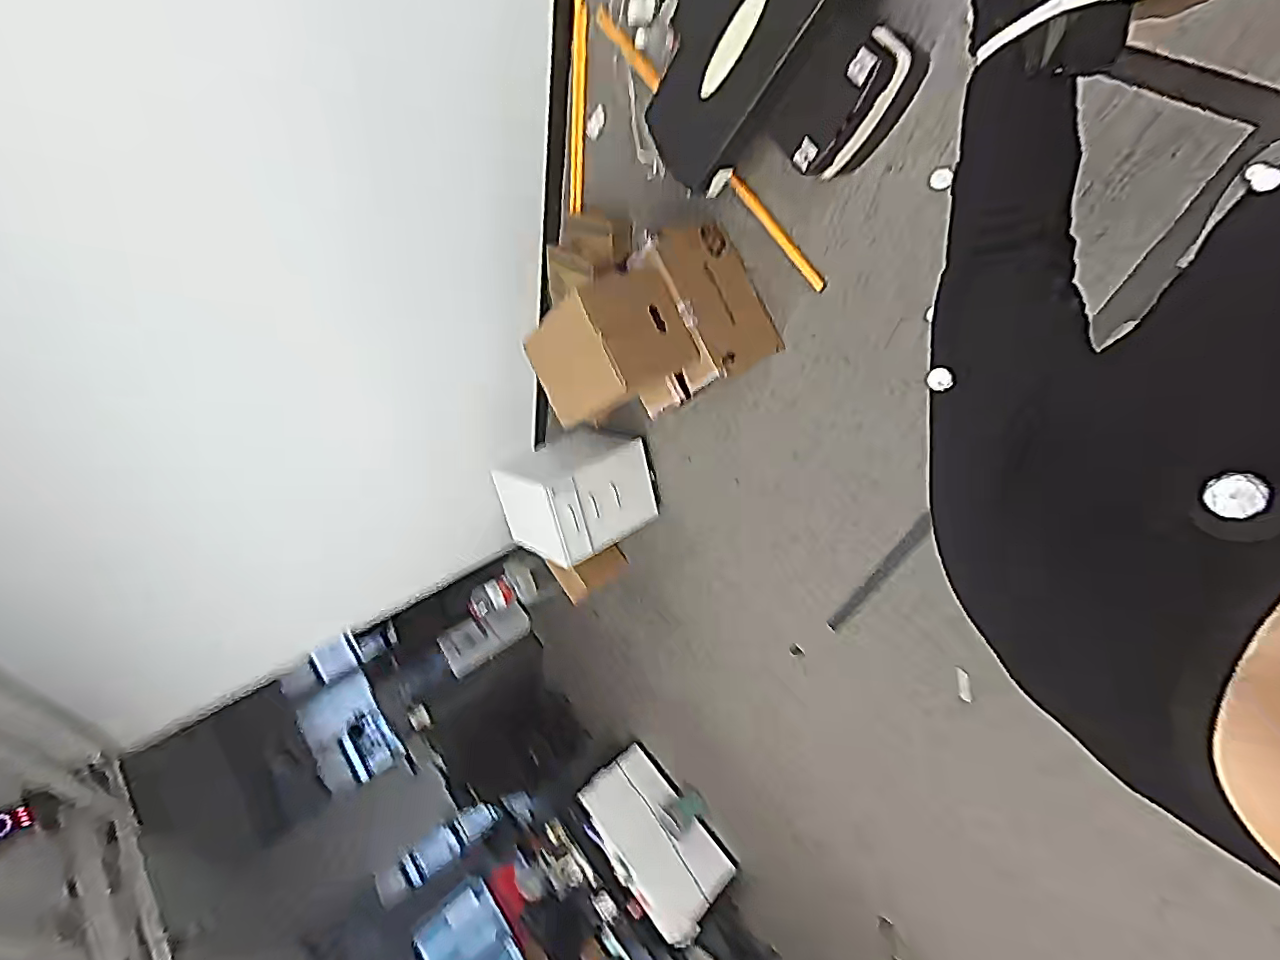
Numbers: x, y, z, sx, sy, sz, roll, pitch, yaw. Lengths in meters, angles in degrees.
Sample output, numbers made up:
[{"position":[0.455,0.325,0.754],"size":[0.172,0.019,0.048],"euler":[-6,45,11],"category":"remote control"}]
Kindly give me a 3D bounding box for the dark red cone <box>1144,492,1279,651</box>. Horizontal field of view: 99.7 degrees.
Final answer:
[{"position":[1.099,0.204,1.029],"size":[0.202,0.394,0.201],"euler":[47,143,20],"category":"dark red cone"}]

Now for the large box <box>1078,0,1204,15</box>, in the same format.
[{"position":[0.484,-0.522,0.260],"size":[0.408,0.320,0.320],"euler":[5,122,51],"category":"large box"}]
